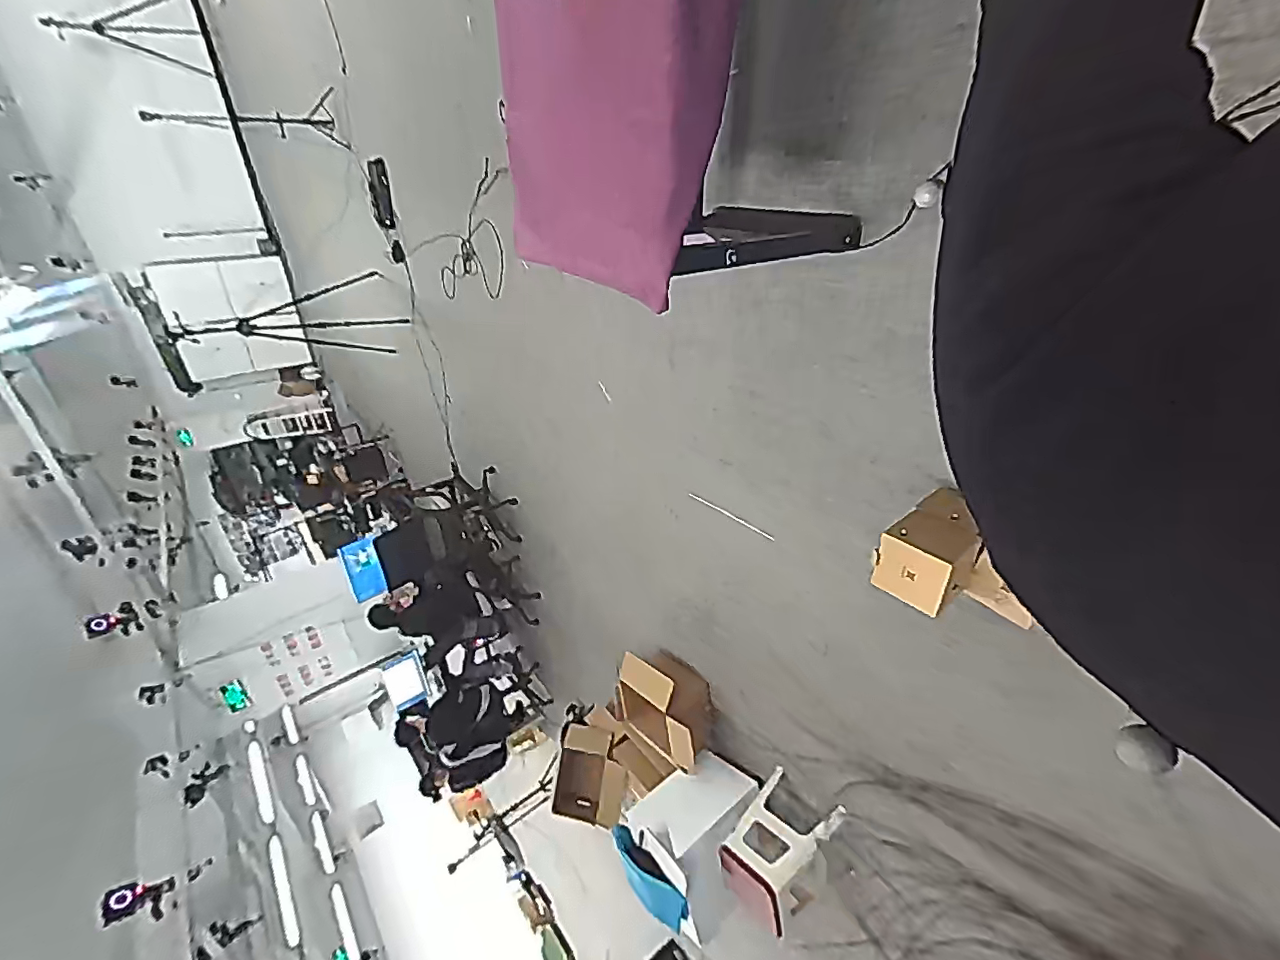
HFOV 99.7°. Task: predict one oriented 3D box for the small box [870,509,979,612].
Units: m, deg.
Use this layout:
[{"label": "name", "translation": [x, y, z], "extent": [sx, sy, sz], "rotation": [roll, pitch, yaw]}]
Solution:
[{"label": "small box", "translation": [0.722, 0.195, 1.373], "extent": [0.179, 0.176, 0.168], "rotation": [31, 132, 43]}]
